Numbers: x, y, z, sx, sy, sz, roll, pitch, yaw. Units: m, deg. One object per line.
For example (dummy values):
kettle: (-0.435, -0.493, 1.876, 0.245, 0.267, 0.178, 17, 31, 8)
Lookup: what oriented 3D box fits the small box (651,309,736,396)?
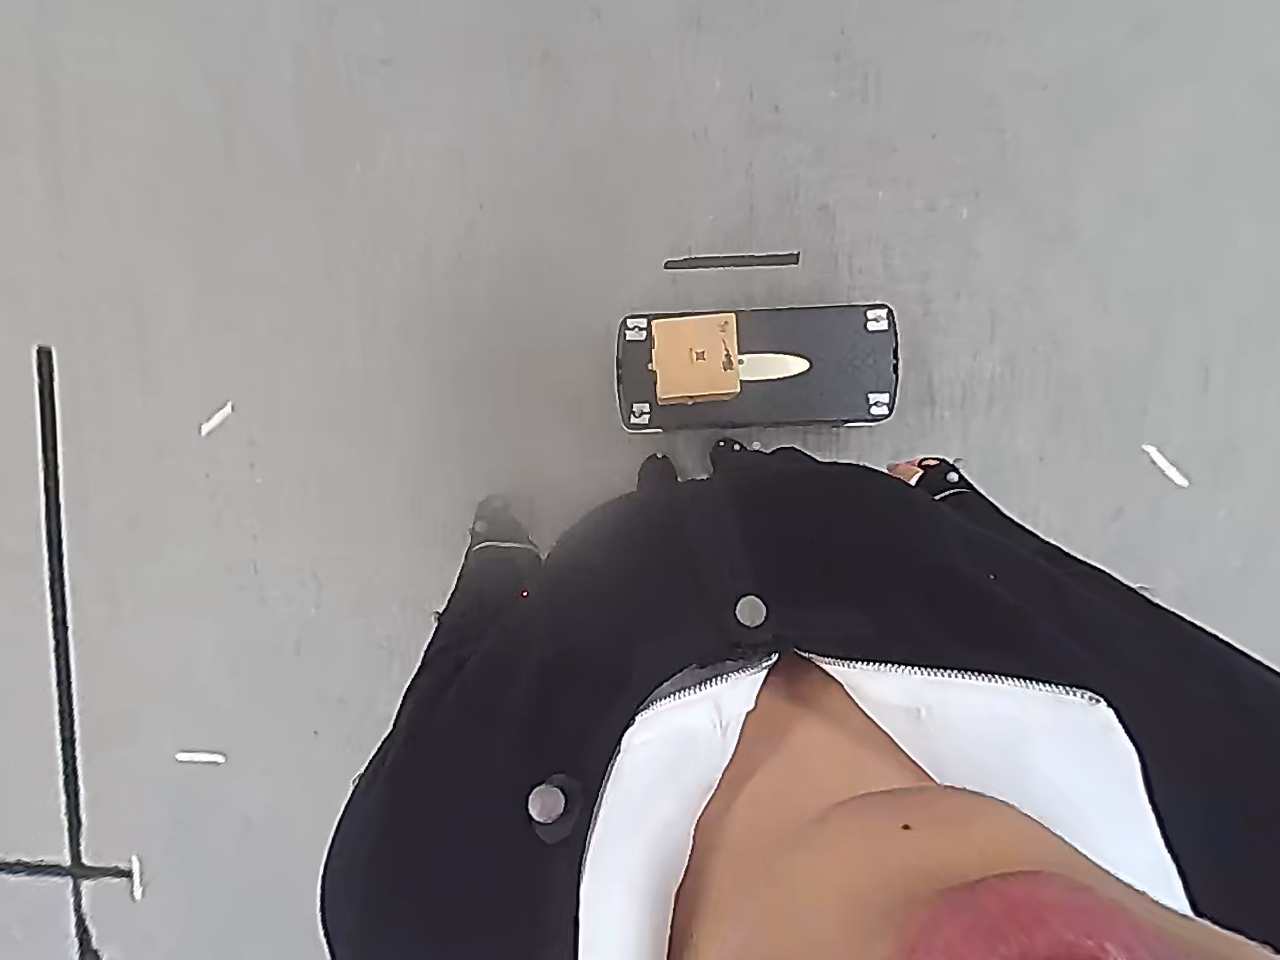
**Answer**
small box: (0.117, -0.274, 1.211, 0.179, 0.176, 0.168, -4, 94, 4)
